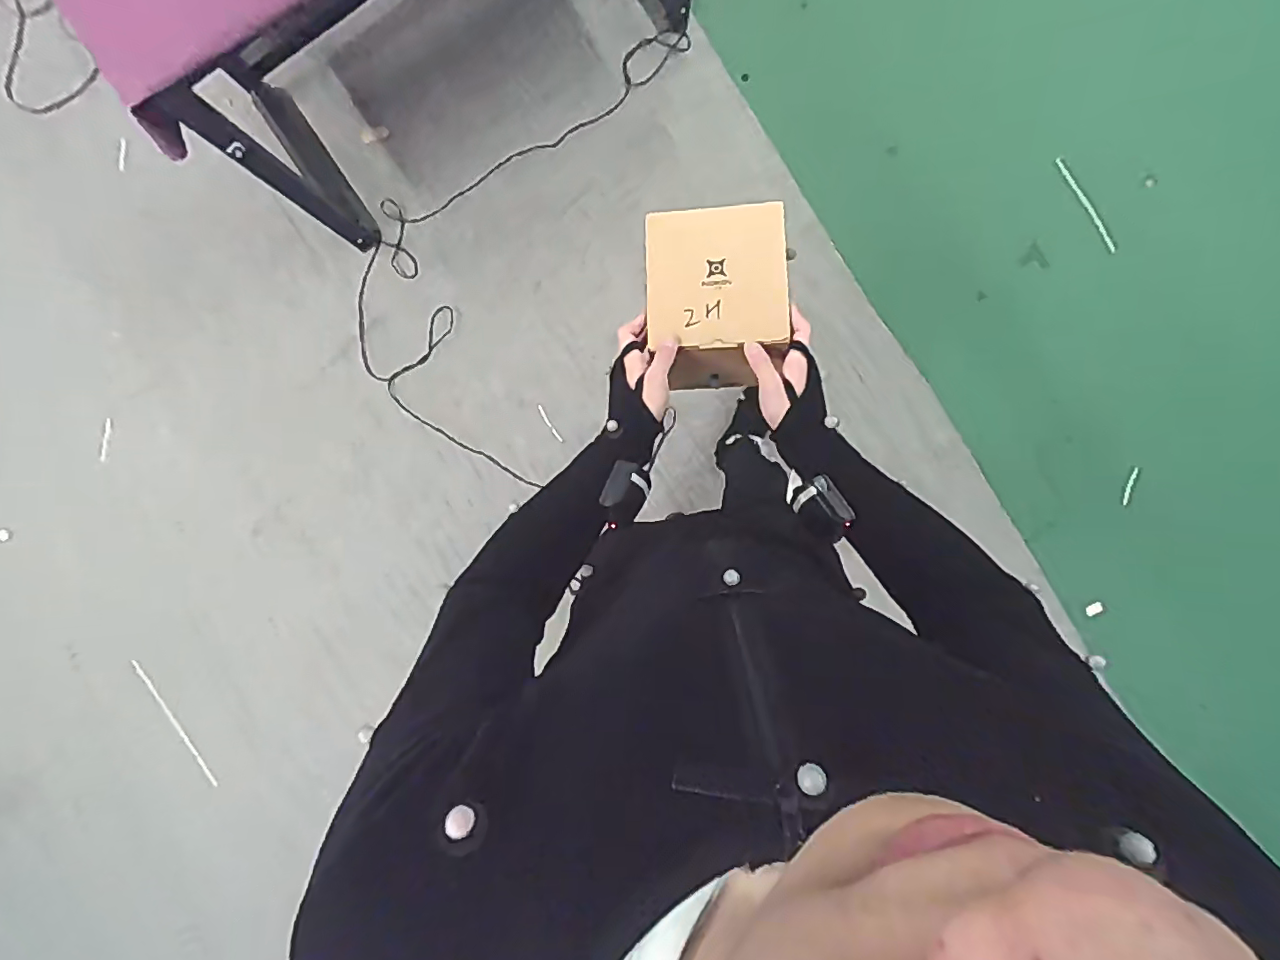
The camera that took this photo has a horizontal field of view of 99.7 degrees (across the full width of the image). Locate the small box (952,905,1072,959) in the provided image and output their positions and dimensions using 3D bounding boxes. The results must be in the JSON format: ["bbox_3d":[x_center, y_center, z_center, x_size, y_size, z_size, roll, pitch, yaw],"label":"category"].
[{"bbox_3d":[0.701,0.922,0.963,0.168,0.176,0.179,-23,90,3],"label":"small box"}]

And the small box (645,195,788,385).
[{"bbox_3d":[0.097,-0.237,0.711,0.168,0.176,0.179,-2,82,8],"label":"small box"}]
